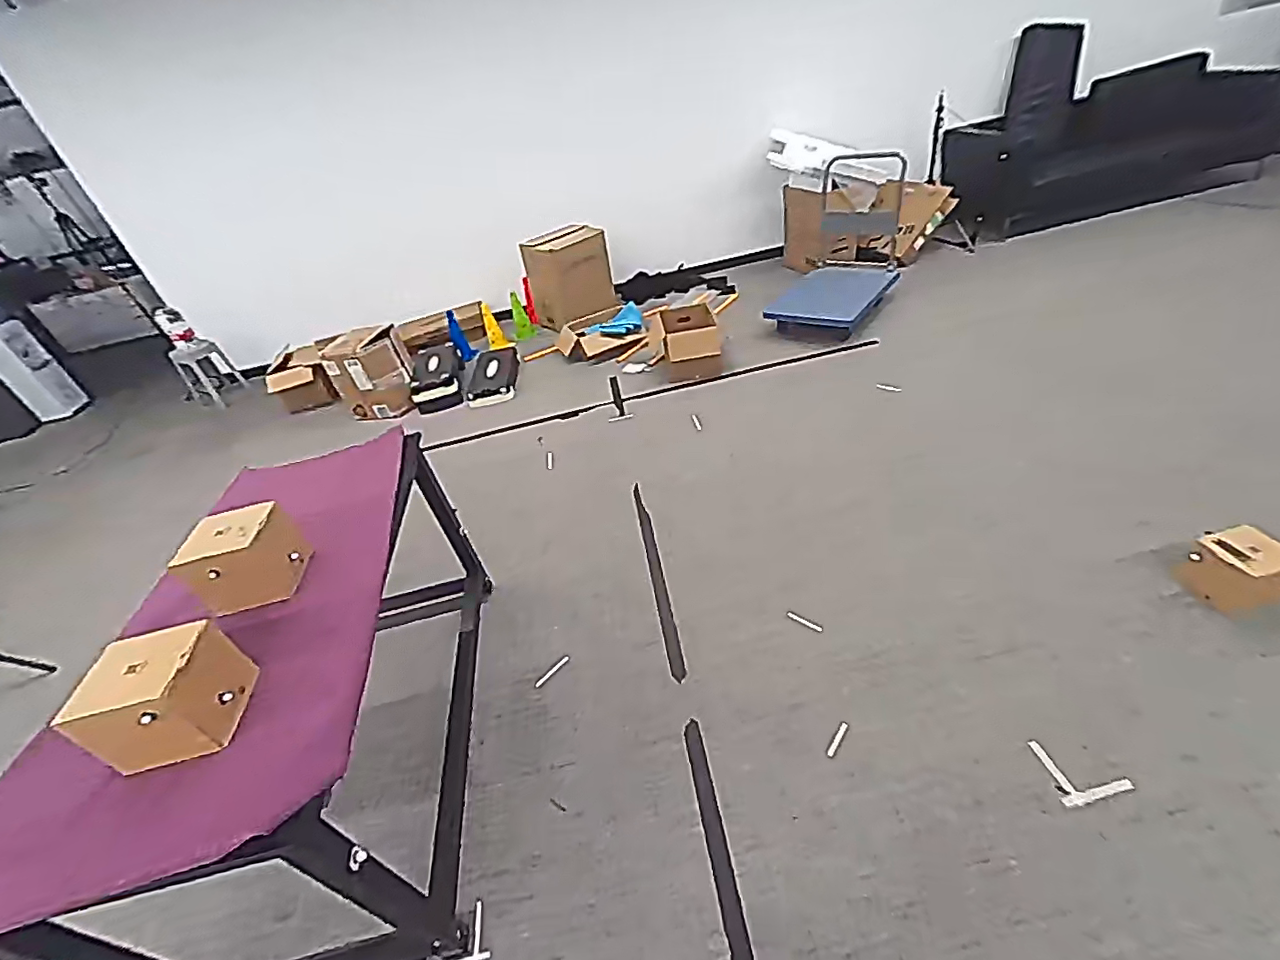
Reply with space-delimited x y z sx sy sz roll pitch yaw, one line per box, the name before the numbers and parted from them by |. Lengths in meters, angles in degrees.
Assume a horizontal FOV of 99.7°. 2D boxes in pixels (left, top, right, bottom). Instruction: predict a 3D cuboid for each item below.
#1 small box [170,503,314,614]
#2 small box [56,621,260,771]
small box | -0.902 0.183 1.246 0.179 0.176 0.168 -14 37 -2
small box | -0.837 0.386 0.964 0.179 0.176 0.168 -14 36 -4
